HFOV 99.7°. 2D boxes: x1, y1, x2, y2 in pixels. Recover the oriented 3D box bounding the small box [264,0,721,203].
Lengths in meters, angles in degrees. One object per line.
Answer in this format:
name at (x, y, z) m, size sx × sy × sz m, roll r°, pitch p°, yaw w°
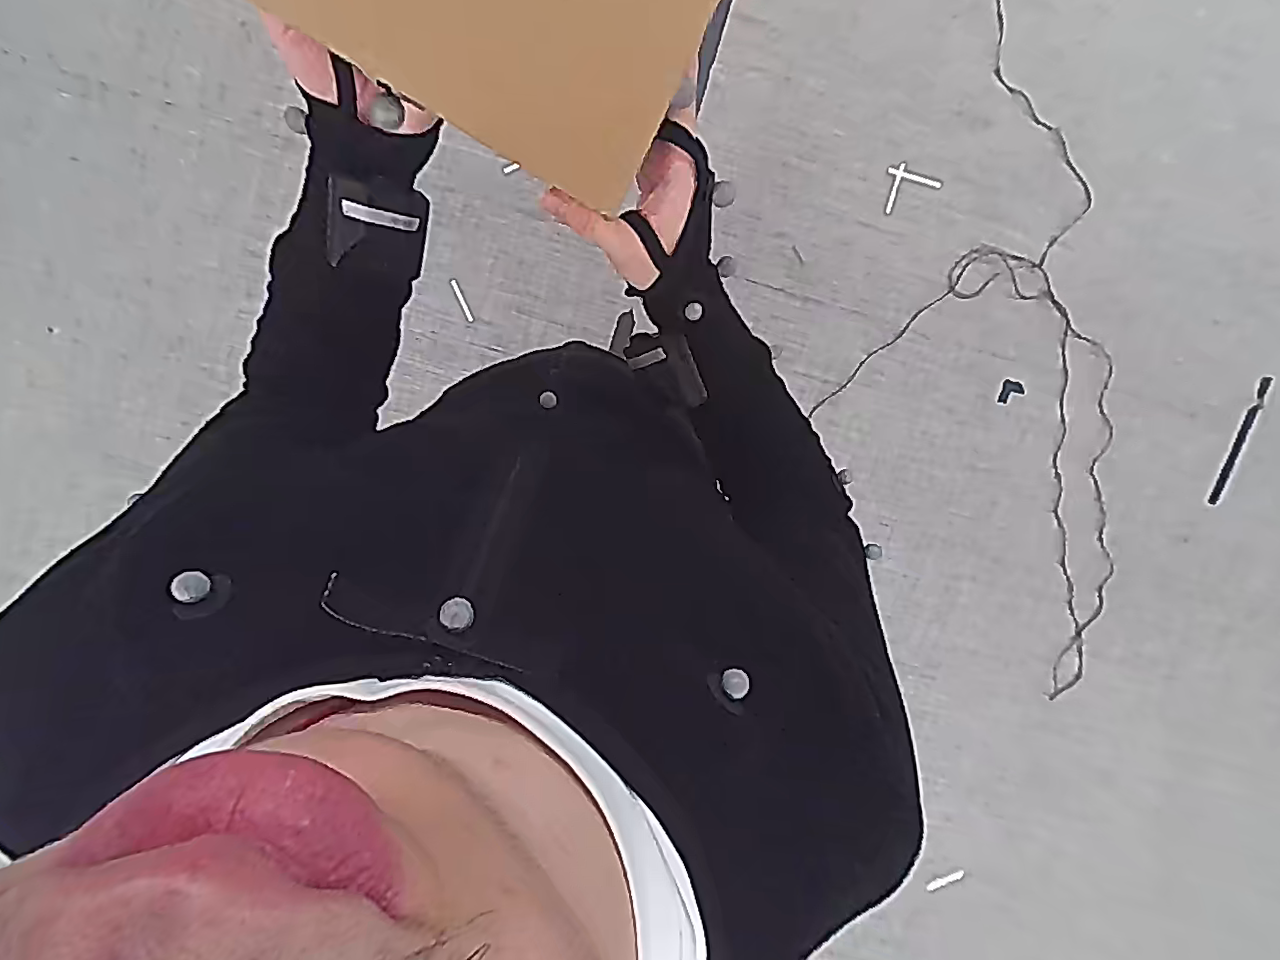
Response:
small box at (-0.052, -0.238, 0.222) m, size 0.179 × 0.176 × 0.168 m, roll 23°, pitch 115°, yaw -18°
